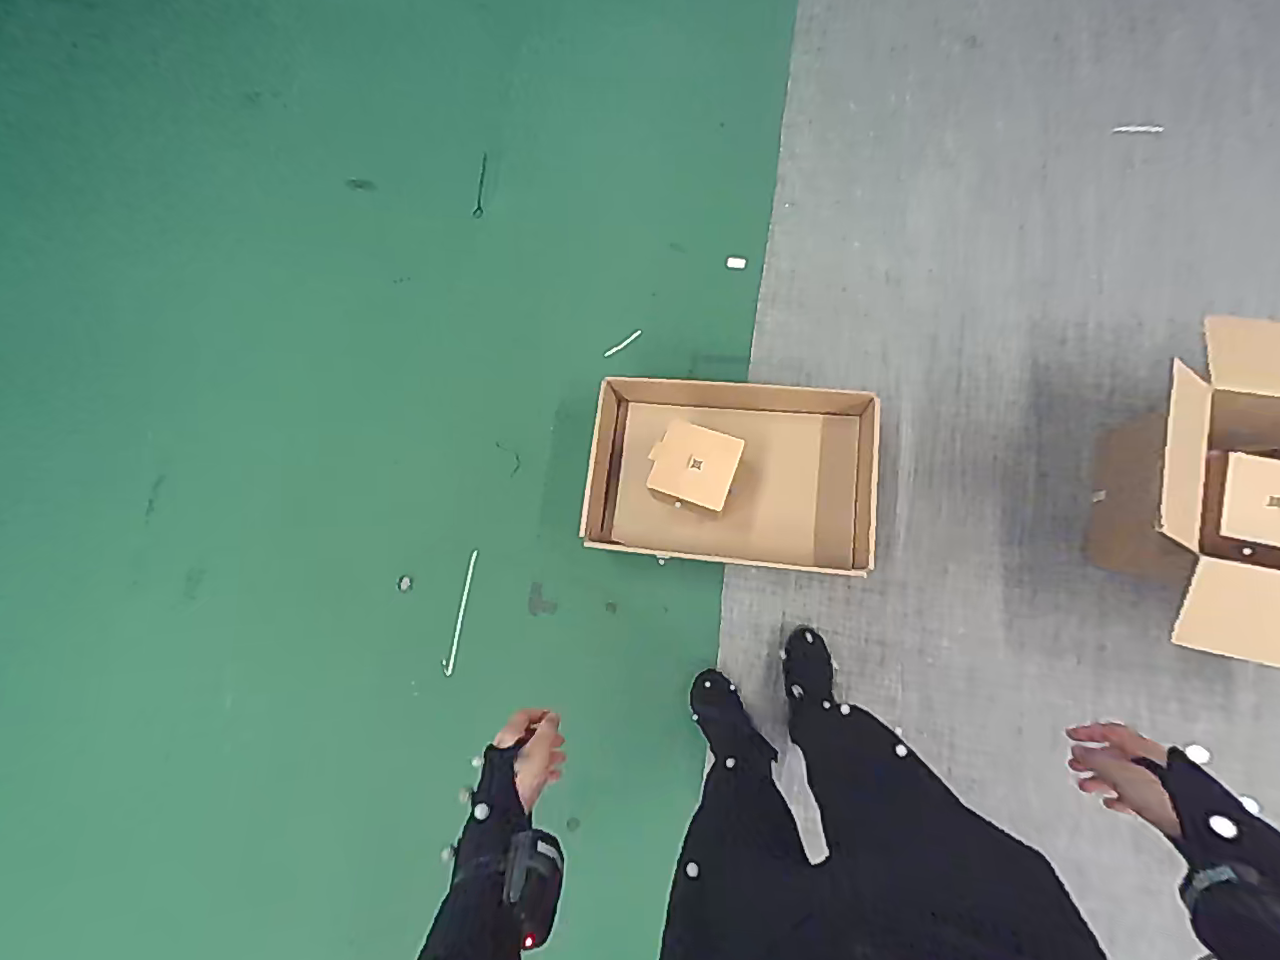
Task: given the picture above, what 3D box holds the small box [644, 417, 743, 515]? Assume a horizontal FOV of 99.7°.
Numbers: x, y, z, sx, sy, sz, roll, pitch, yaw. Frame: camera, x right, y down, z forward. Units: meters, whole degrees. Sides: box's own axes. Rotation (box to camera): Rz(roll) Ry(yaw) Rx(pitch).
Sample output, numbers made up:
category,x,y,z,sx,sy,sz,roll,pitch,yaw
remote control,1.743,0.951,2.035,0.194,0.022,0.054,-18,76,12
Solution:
category,x,y,z,sx,sy,sz,roll,pitch,yaw
small box,0.127,-0.025,1.249,0.179,0.176,0.168,18,81,11
